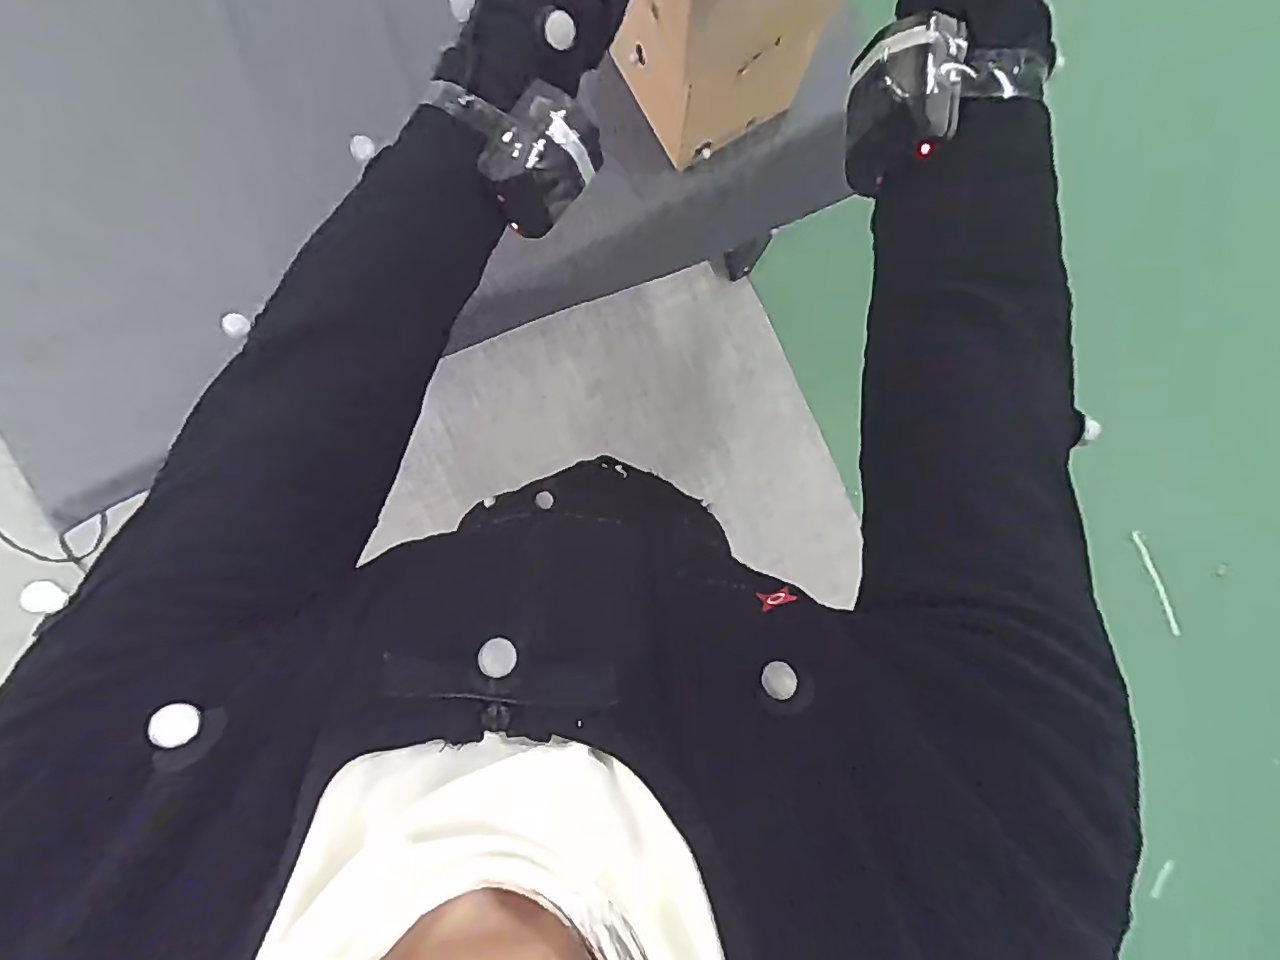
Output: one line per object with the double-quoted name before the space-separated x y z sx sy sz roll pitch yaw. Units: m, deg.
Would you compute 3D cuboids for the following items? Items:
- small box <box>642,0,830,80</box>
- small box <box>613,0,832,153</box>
"small box" 0.085 -0.495 0.448 0.179 0.176 0.168 -28 91 2
"small box" 0.080 -0.510 0.609 0.168 0.176 0.179 -30 91 1
